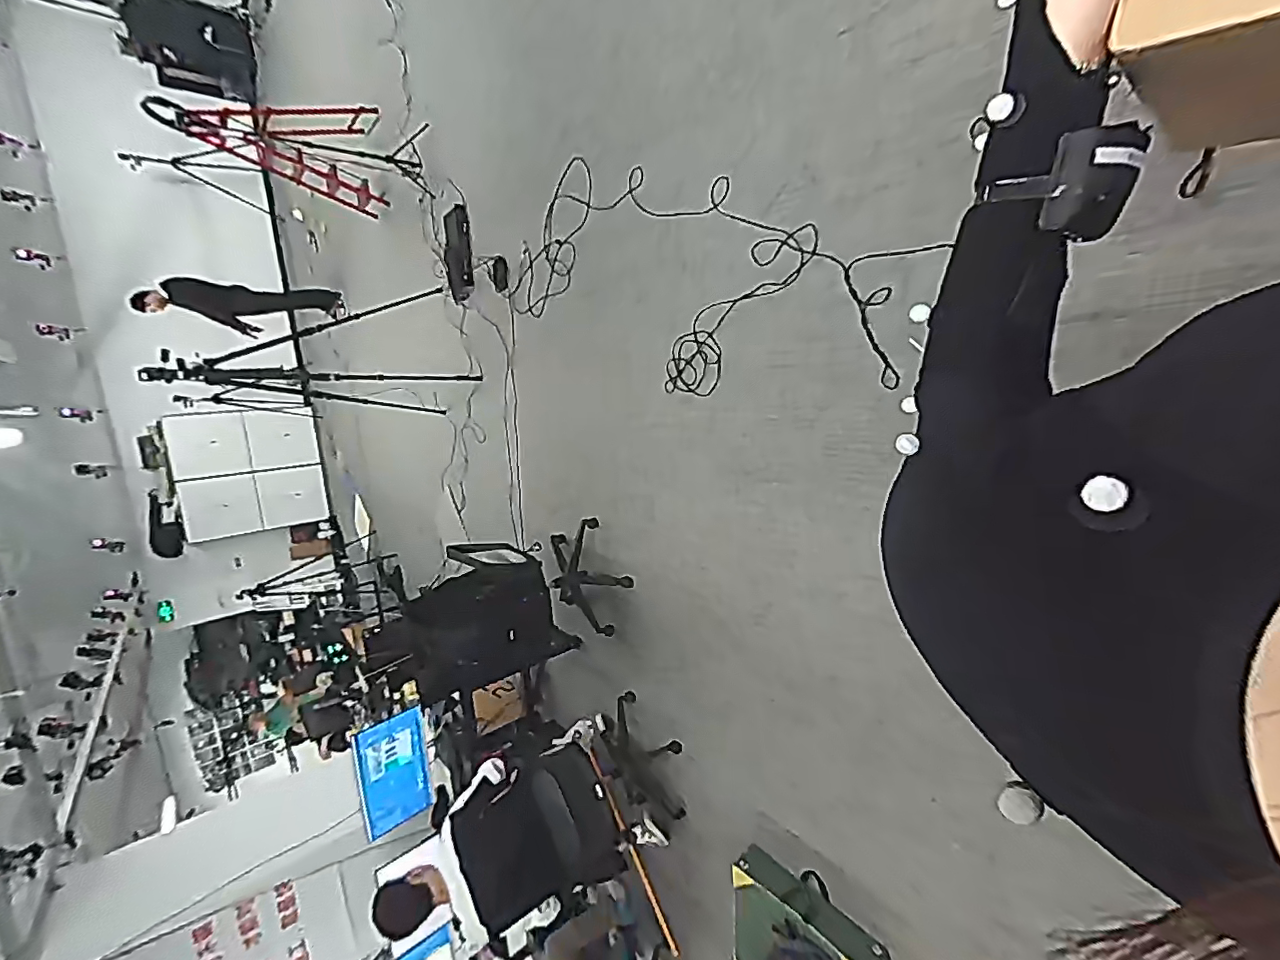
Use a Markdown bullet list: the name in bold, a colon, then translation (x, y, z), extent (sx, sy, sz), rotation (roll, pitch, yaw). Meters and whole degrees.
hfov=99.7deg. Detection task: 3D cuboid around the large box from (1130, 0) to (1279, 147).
- **large box**: translation (0.540, -0.401, 0.250), extent (0.408, 0.320, 0.320), rotation (17, 114, 44)
